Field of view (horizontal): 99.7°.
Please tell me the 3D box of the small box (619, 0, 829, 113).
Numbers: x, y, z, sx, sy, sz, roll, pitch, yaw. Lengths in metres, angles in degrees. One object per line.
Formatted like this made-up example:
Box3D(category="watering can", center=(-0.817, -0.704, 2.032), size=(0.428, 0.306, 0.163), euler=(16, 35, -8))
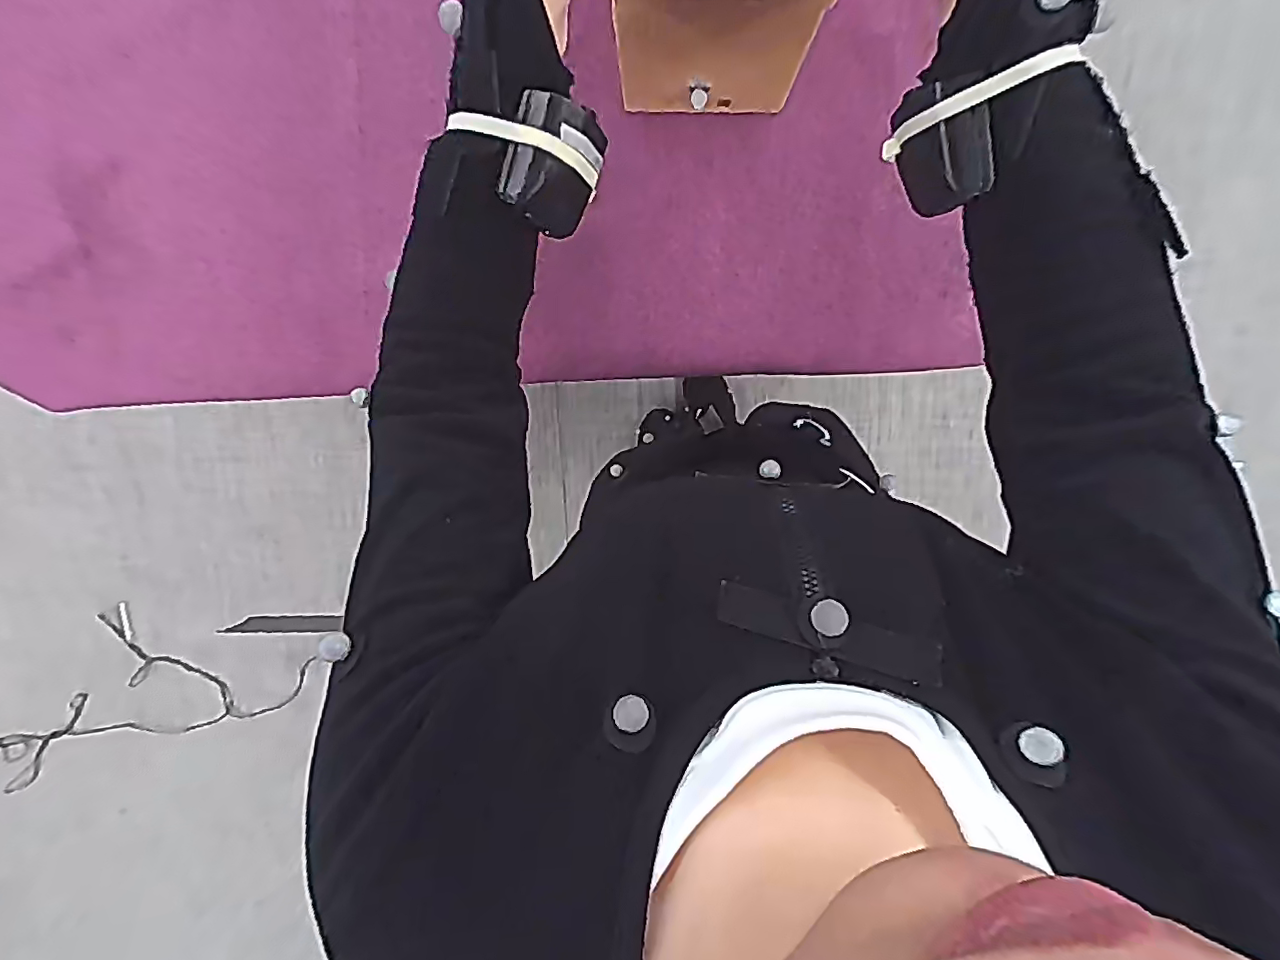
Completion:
Box3D(category="small box", center=(0.068, -0.460, 0.473), size=(0.168, 0.176, 0.179), euler=(2, 101, 2))
